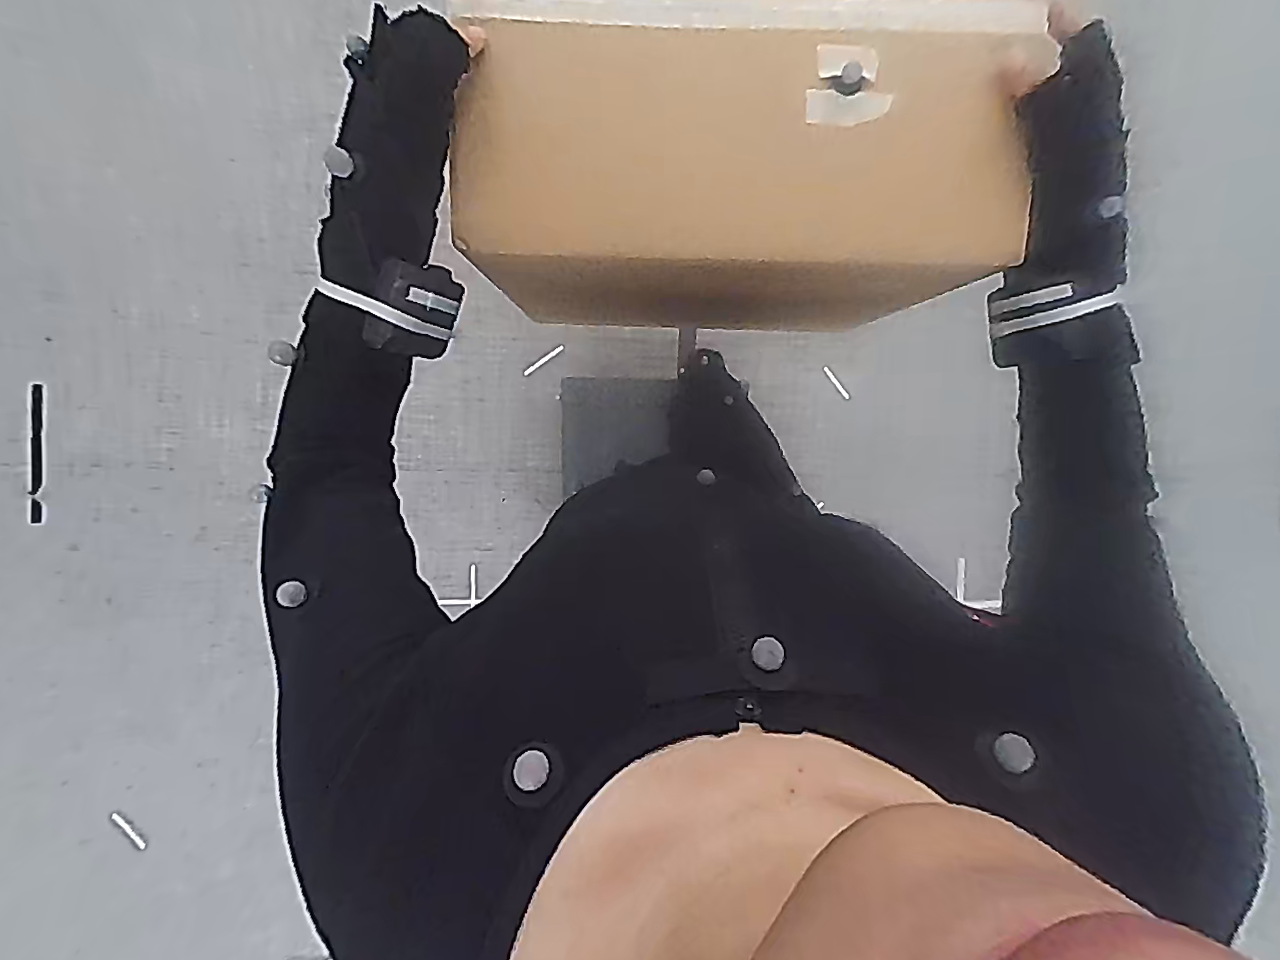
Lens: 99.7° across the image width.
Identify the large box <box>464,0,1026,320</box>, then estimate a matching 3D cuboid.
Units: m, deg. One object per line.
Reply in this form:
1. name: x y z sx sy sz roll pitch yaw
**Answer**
1. large box: 0.069 -0.341 0.527 0.408 0.320 0.320 1 97 -2
